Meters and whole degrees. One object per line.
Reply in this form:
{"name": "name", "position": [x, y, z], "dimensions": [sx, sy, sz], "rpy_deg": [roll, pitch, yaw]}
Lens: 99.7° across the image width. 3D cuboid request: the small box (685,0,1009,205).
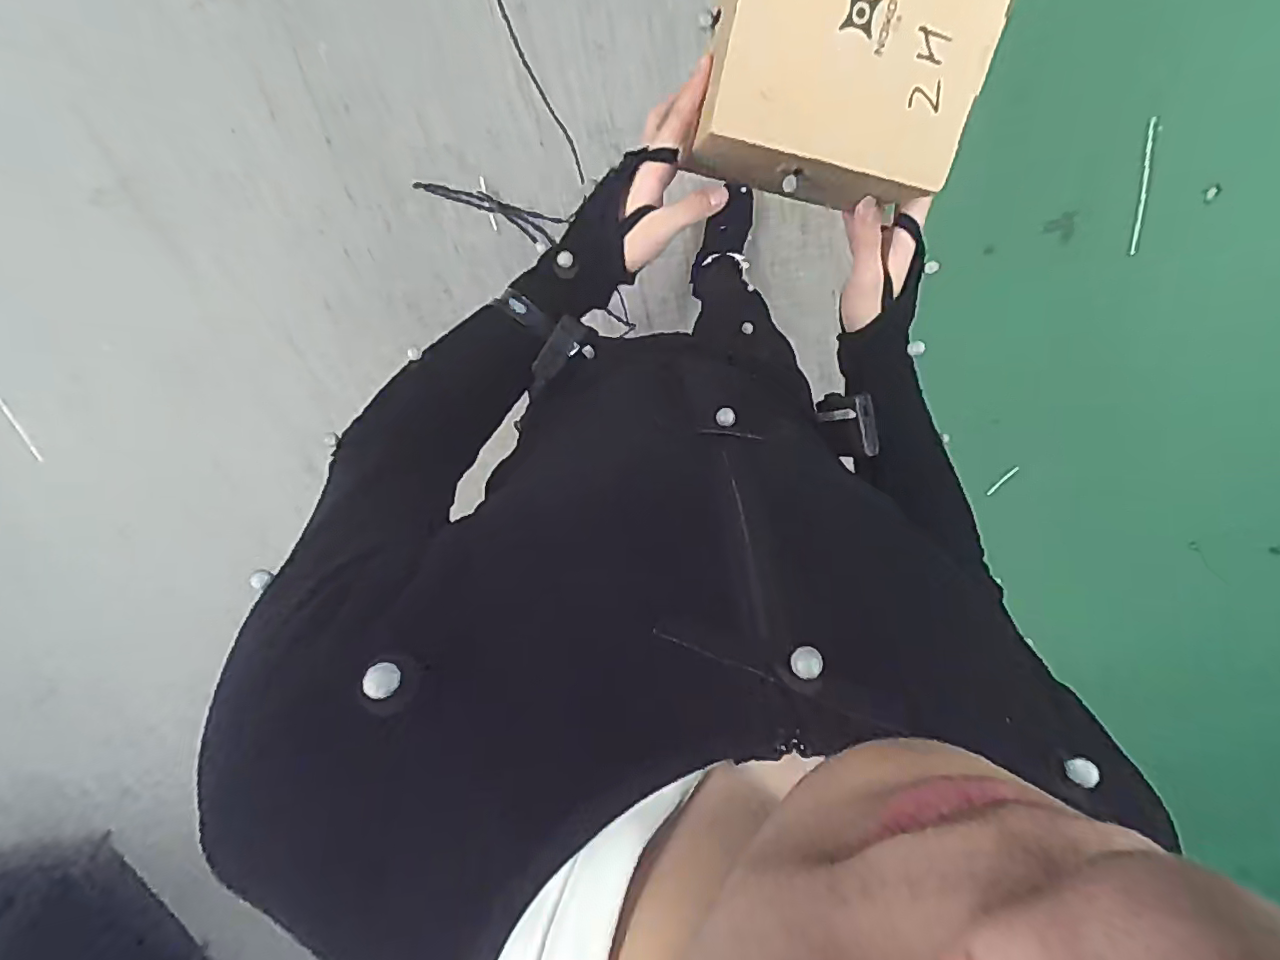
{"name": "small box", "position": [0.141, -0.325, 0.418], "dimensions": [0.179, 0.176, 0.168], "rpy_deg": [10, 111, -8]}
